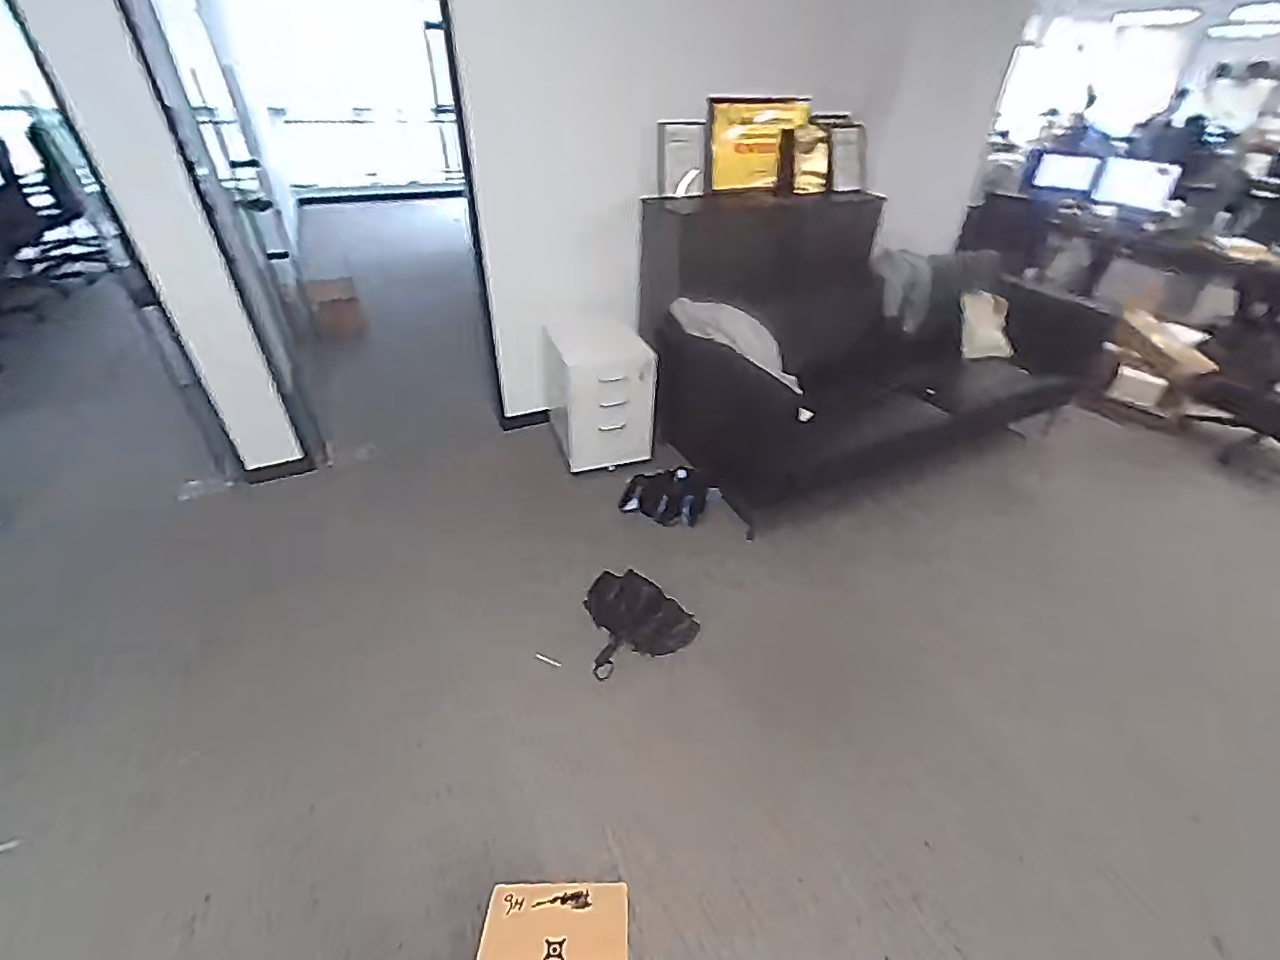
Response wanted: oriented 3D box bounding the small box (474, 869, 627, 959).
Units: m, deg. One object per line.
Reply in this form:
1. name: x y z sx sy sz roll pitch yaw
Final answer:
1. small box: -0.097 0.586 0.607 0.168 0.176 0.179 0 14 -3
